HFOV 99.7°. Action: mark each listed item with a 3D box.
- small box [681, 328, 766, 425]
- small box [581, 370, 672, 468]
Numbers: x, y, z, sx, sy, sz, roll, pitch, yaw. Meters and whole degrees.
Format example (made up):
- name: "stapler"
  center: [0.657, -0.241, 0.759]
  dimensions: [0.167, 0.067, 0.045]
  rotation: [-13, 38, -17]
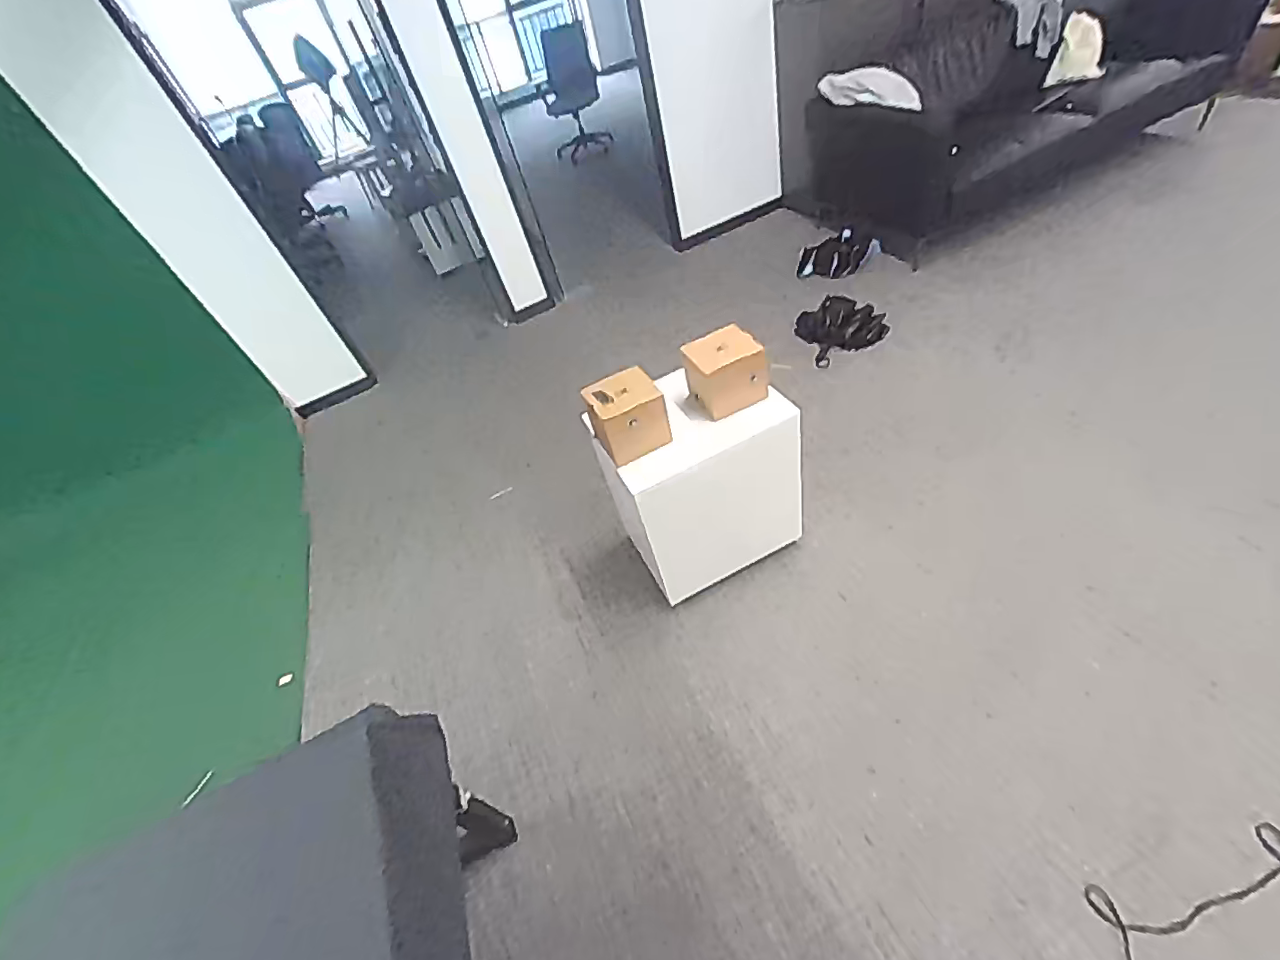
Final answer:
- name: "small box"
  center: [0.236, -0.284, 1.495]
  dimensions: [0.179, 0.176, 0.168]
  rotation: [-27, 44, -6]
- name: "small box"
  center: [-0.033, -0.161, 1.456]
  dimensions: [0.179, 0.176, 0.168]
  rotation: [-26, 45, -11]
